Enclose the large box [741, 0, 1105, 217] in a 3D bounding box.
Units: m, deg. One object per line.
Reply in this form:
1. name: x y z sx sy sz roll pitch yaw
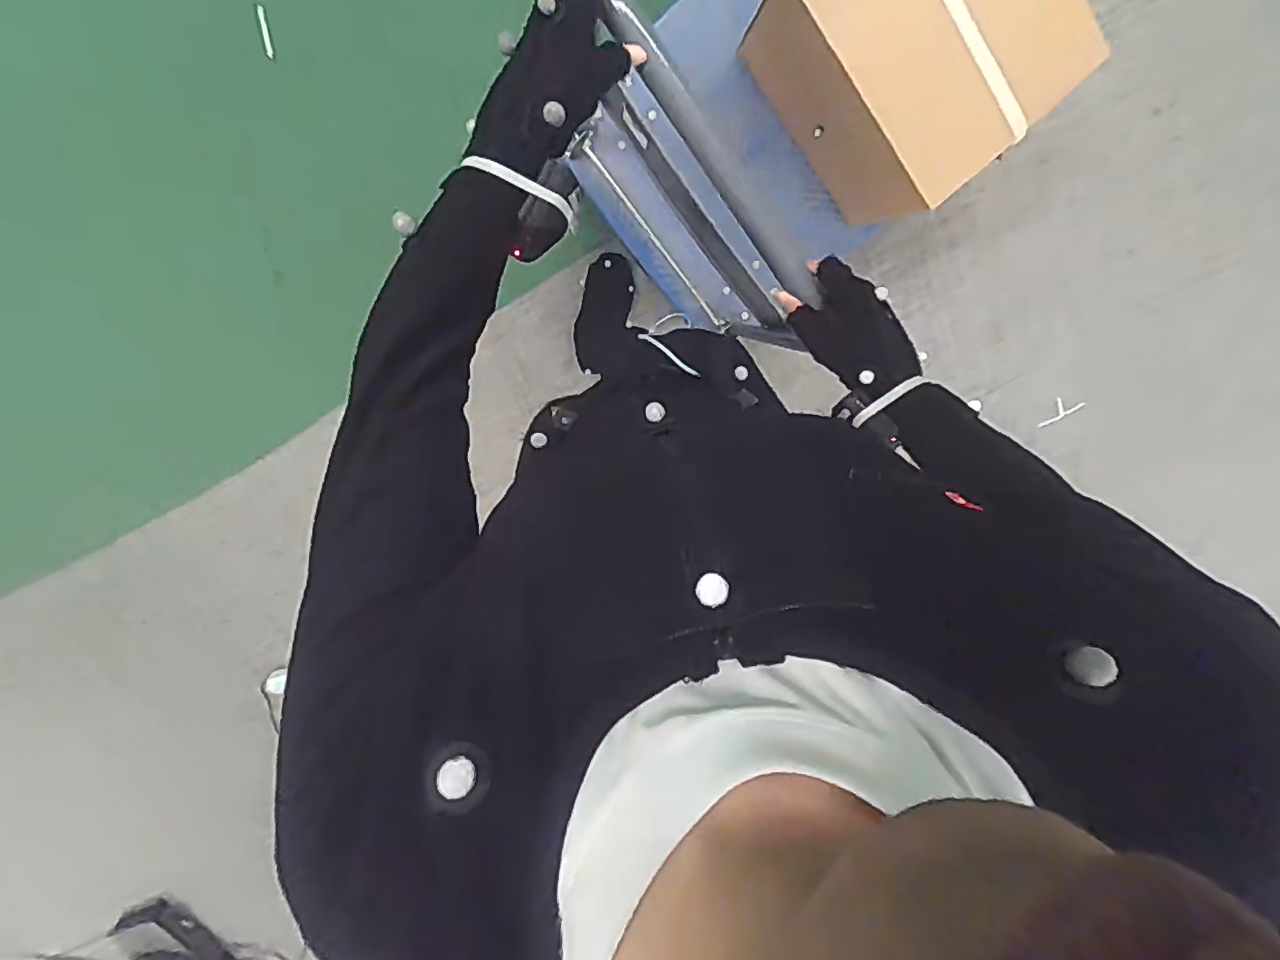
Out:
1. large box: 0.436 -0.726 0.912 0.320 0.320 0.408 -41 106 12
